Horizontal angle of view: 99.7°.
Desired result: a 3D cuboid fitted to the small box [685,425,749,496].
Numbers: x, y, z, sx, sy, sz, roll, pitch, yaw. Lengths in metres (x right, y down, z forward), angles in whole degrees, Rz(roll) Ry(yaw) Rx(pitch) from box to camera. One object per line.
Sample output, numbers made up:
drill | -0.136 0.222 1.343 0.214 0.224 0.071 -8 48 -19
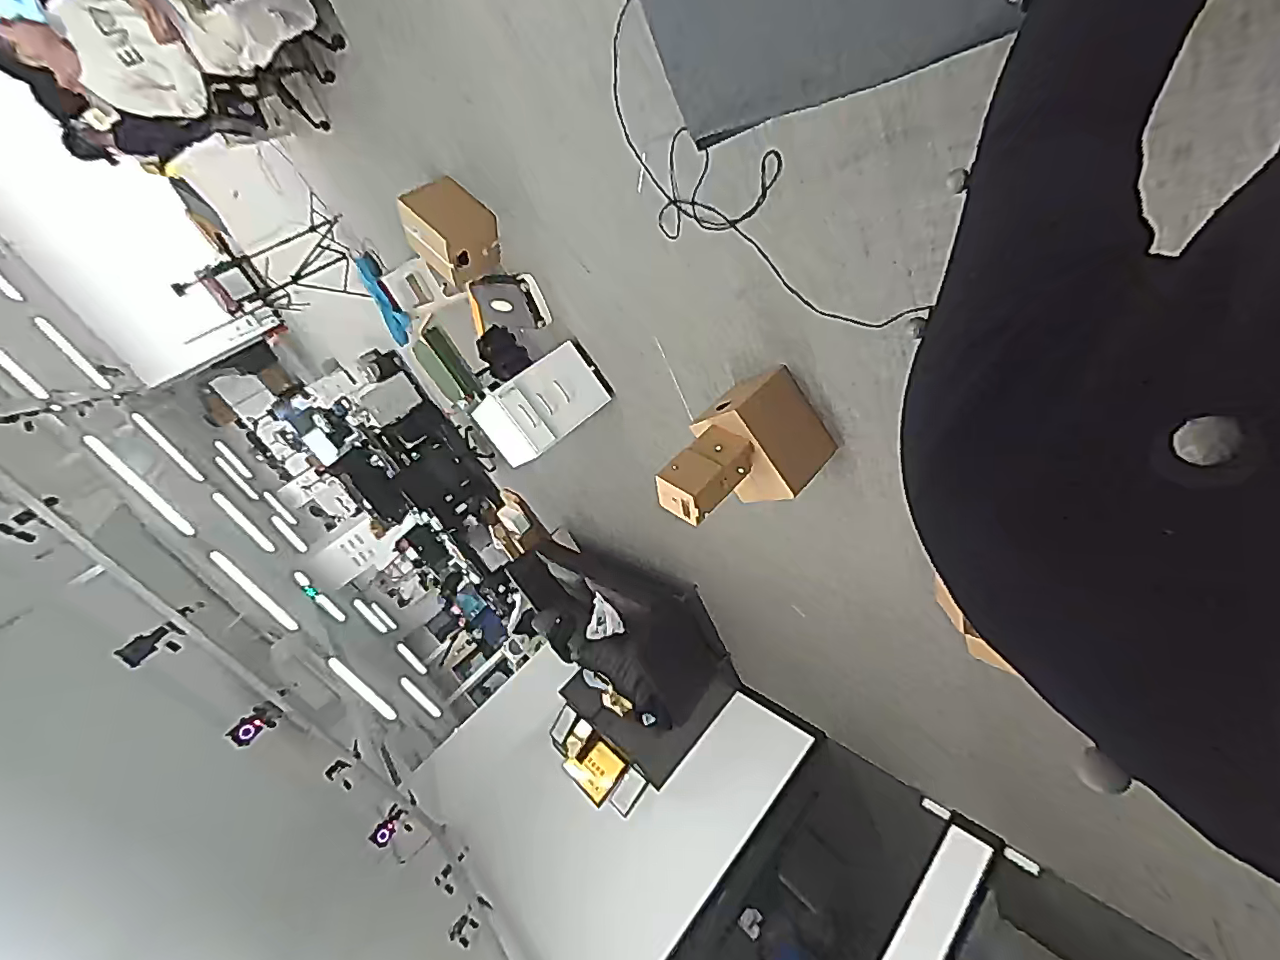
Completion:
small box | 0.292 -0.077 2.008 0.179 0.176 0.168 29 149 32
